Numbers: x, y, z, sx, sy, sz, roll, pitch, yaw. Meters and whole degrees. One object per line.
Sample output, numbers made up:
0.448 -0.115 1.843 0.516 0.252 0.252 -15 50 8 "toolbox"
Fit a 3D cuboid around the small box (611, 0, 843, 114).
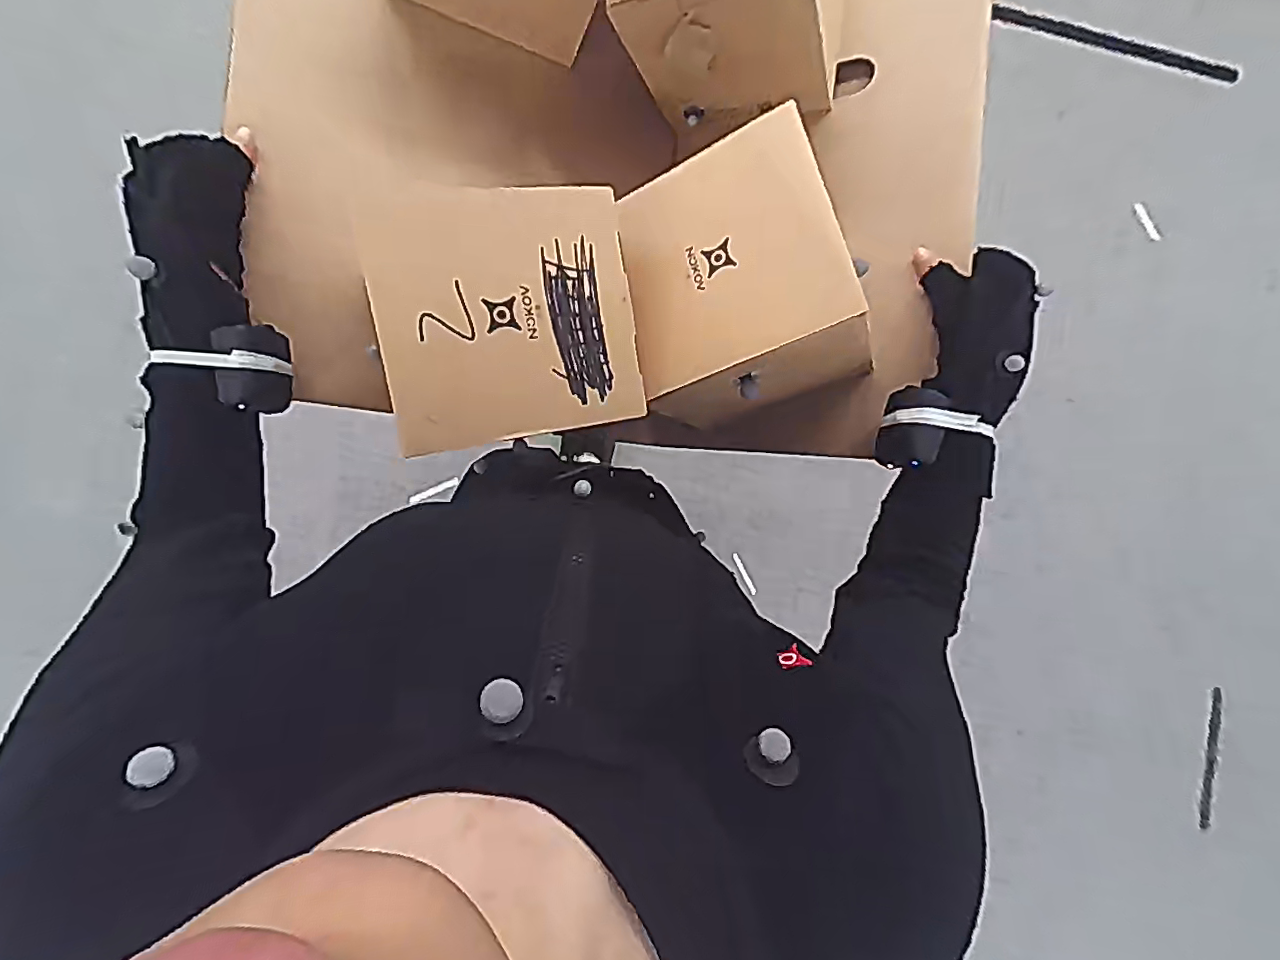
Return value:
0.092 -0.470 0.491 0.168 0.176 0.179 7 88 25 "small box"
